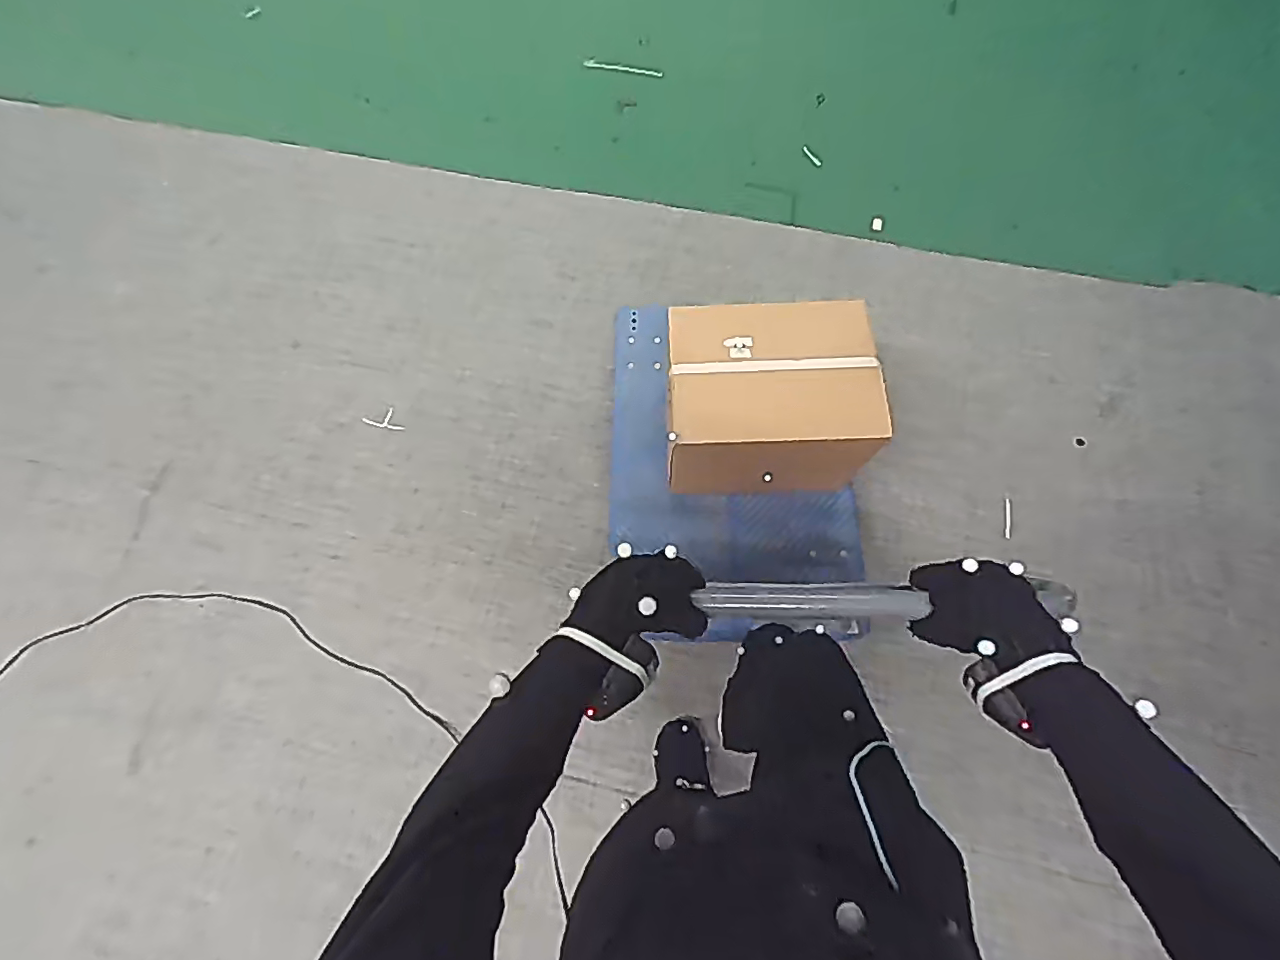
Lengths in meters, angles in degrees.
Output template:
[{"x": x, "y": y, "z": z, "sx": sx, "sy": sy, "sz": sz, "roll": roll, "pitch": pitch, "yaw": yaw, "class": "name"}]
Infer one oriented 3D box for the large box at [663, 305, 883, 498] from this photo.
[{"x": 0.263, "y": -0.158, "z": 1.210, "sx": 0.408, "sy": 0.320, "sz": 0.320, "roll": -3, "pitch": 69, "yaw": 2, "class": "large box"}]
